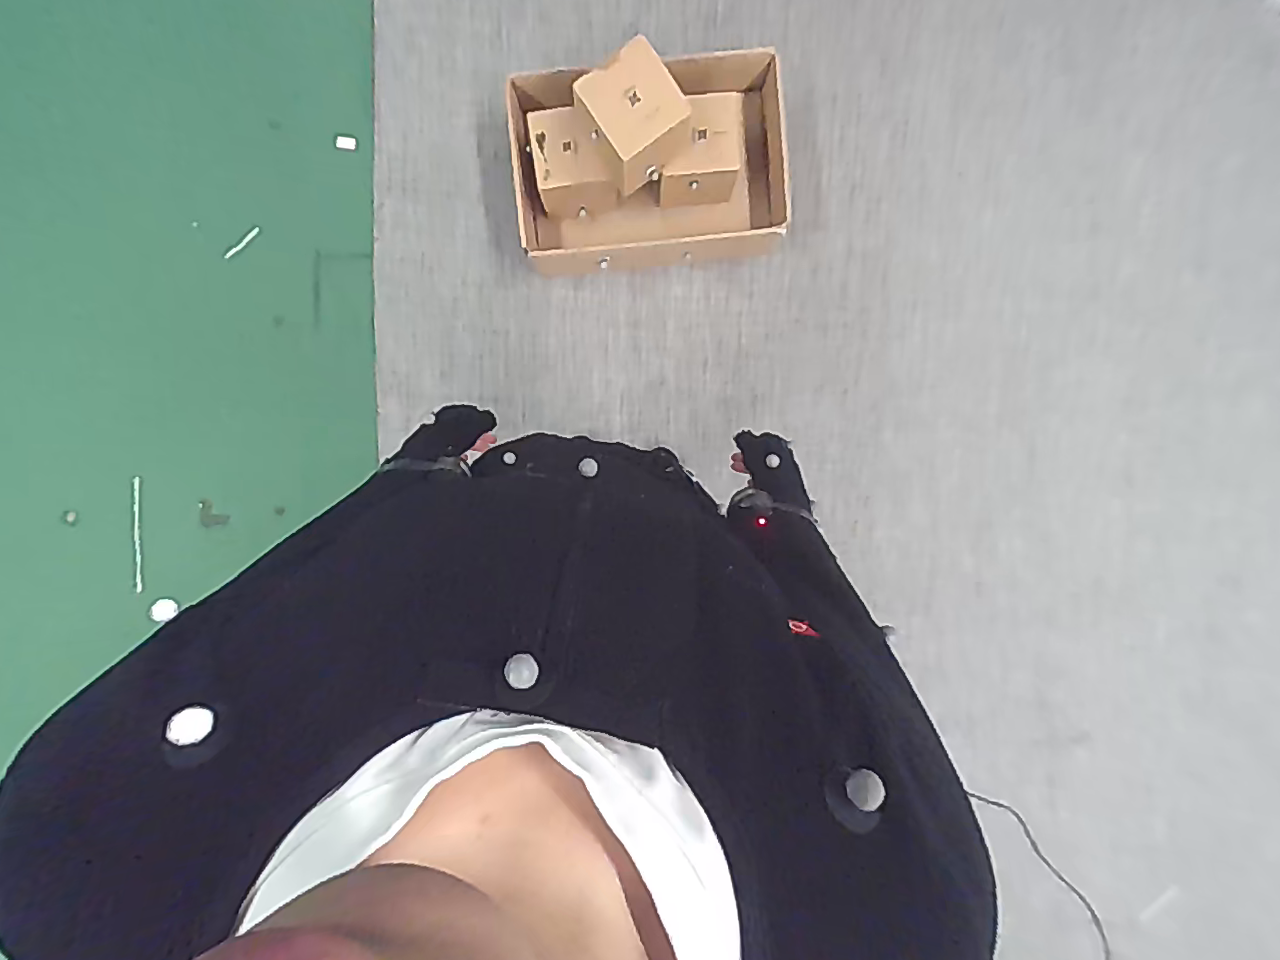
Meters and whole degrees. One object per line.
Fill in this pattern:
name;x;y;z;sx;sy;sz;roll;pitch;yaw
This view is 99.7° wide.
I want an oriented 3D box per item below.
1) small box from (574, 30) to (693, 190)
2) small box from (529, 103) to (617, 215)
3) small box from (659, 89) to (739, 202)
small box;-0.014;-0.740;1.106;0.168;0.176;0.179;-36;96;3
small box;-0.151;-0.745;1.266;0.179;0.176;0.168;-8;94;-2
small box;0.129;-0.771;1.264;0.179;0.176;0.168;-4;95;1
